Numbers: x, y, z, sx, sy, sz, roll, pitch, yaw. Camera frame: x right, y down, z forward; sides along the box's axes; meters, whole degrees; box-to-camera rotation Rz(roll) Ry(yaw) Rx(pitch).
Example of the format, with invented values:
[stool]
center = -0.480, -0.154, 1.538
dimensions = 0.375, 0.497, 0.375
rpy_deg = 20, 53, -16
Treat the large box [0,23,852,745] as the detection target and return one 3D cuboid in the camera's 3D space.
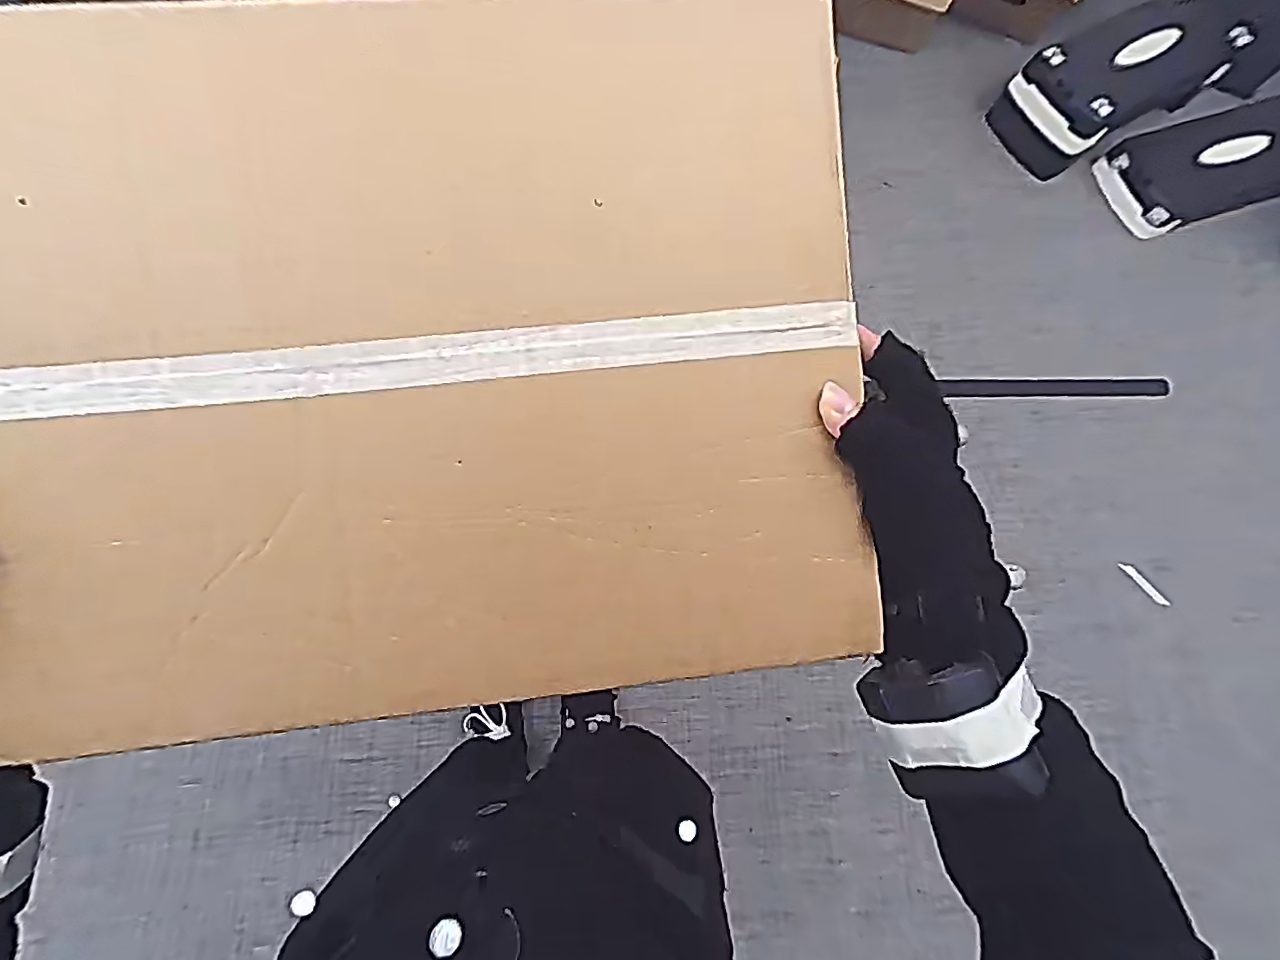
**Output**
[large box]
center = -0.113, -0.057, 0.402
dimensions = 0.408, 0.320, 0.320
rpy_deg = -5, 91, -5
